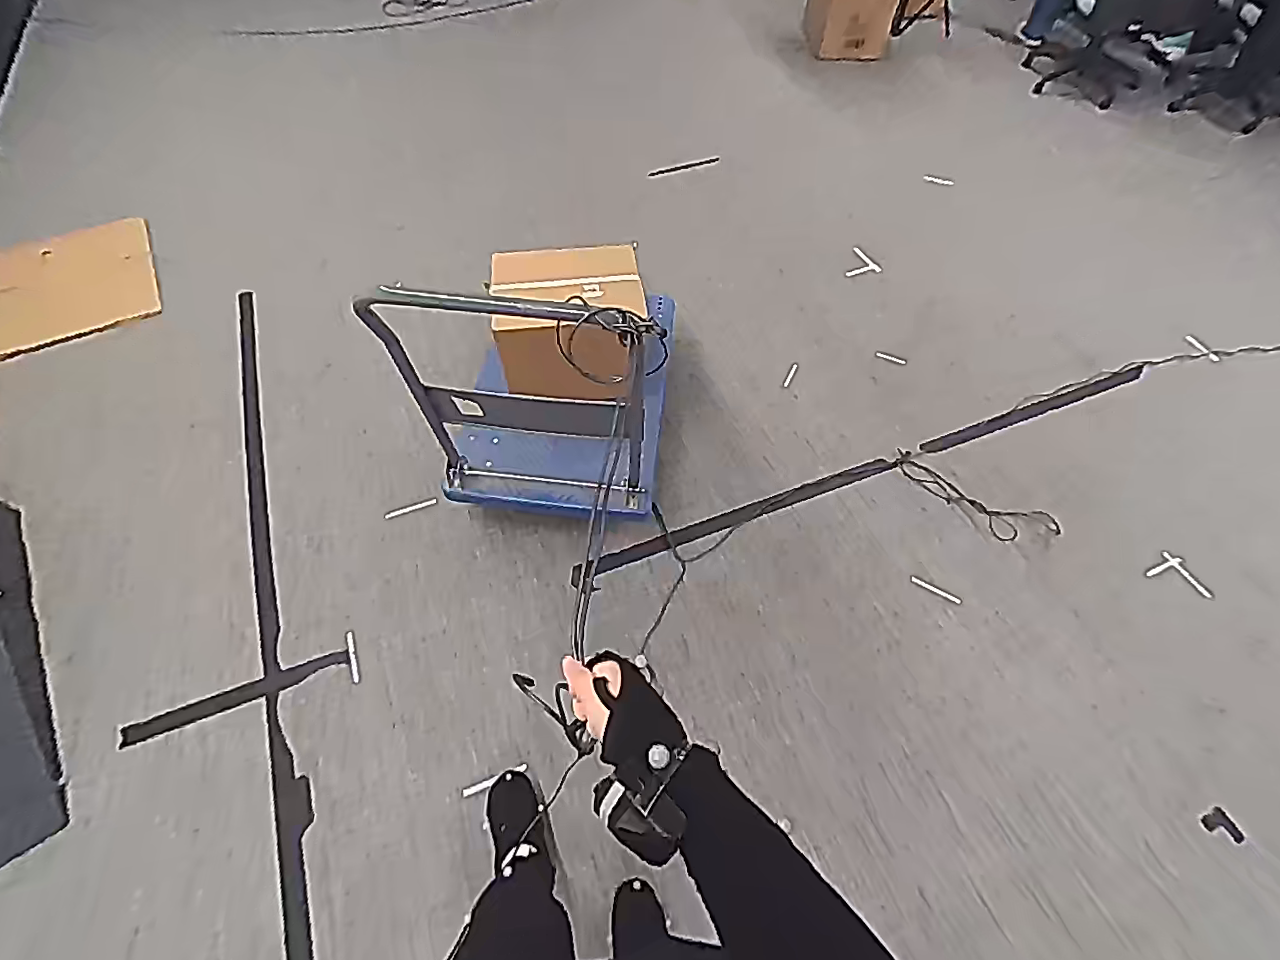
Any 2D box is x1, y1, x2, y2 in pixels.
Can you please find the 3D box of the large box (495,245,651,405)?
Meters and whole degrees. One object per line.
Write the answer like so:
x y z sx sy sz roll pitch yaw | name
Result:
-0.194 -0.445 1.577 0.408 0.320 0.320 -6 60 -6 | large box
